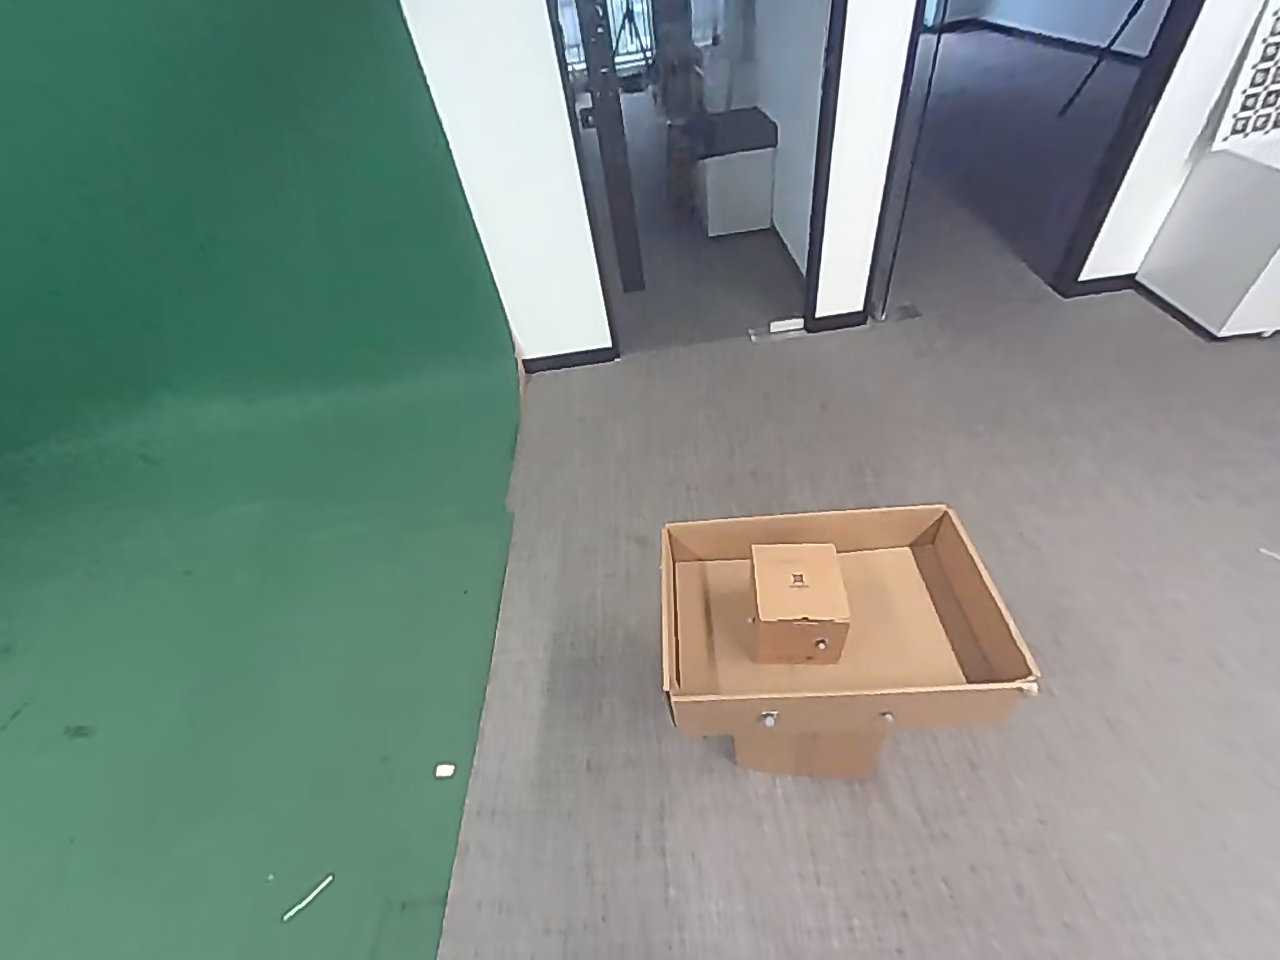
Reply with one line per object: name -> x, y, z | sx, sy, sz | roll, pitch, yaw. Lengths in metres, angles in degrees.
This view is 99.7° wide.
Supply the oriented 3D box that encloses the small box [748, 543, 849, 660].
small box -> 0.308, 0.246, 1.086 | 0.168, 0.176, 0.179 | -1, 44, 6
